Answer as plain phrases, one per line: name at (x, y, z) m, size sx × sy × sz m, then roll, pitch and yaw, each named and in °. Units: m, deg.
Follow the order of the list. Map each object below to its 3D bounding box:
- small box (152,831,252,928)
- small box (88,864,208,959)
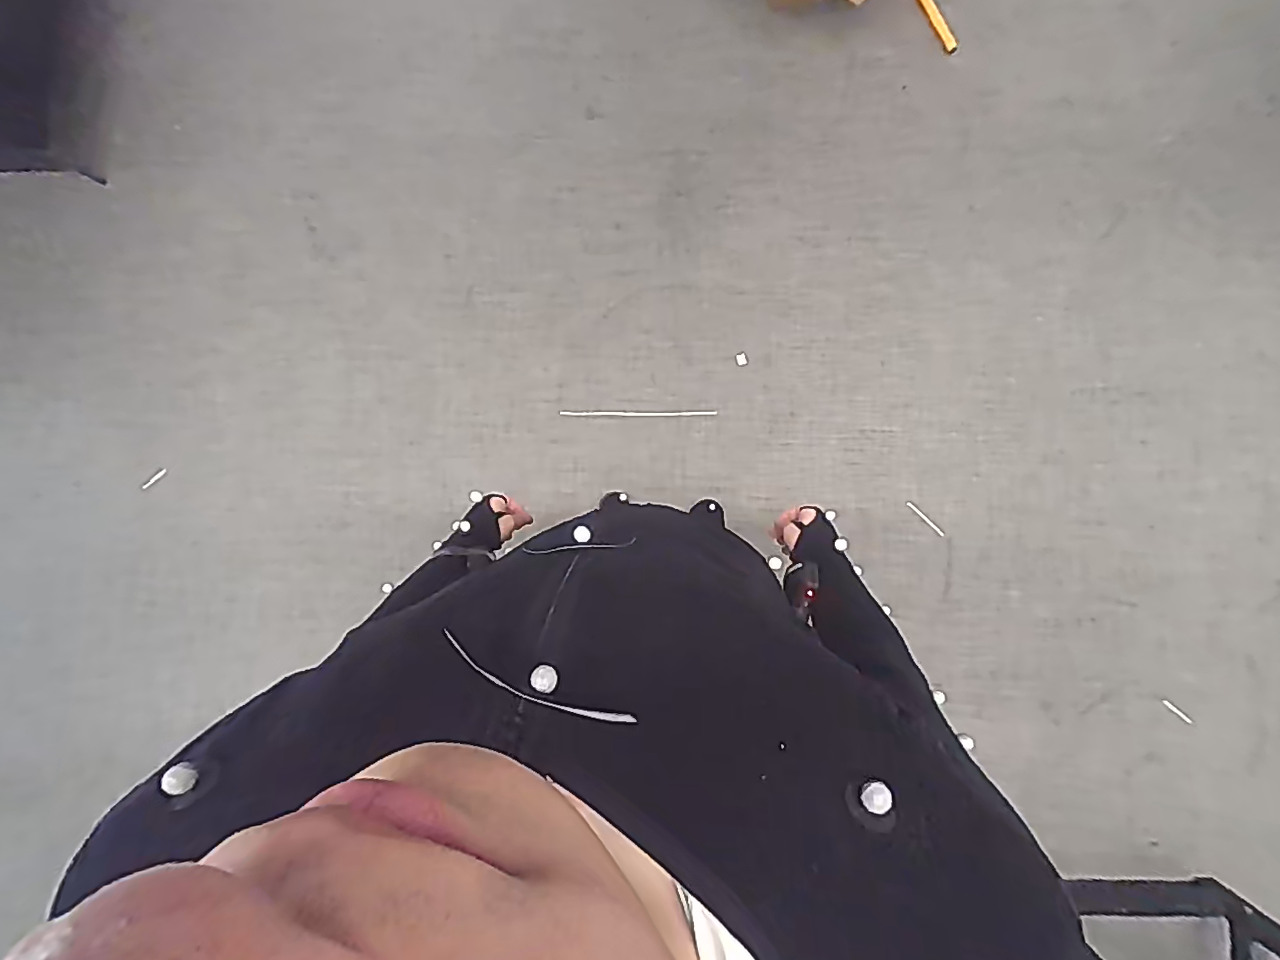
small box at (-1.275, 1.155, 1.575) m, size 0.179 × 0.176 × 0.168 m, roll 2°, pitch 87°, yaw 2°
small box at (-1.276, 1.144, 1.413) m, size 0.168 × 0.176 × 0.179 m, roll 0°, pitch 88°, yaw 3°
